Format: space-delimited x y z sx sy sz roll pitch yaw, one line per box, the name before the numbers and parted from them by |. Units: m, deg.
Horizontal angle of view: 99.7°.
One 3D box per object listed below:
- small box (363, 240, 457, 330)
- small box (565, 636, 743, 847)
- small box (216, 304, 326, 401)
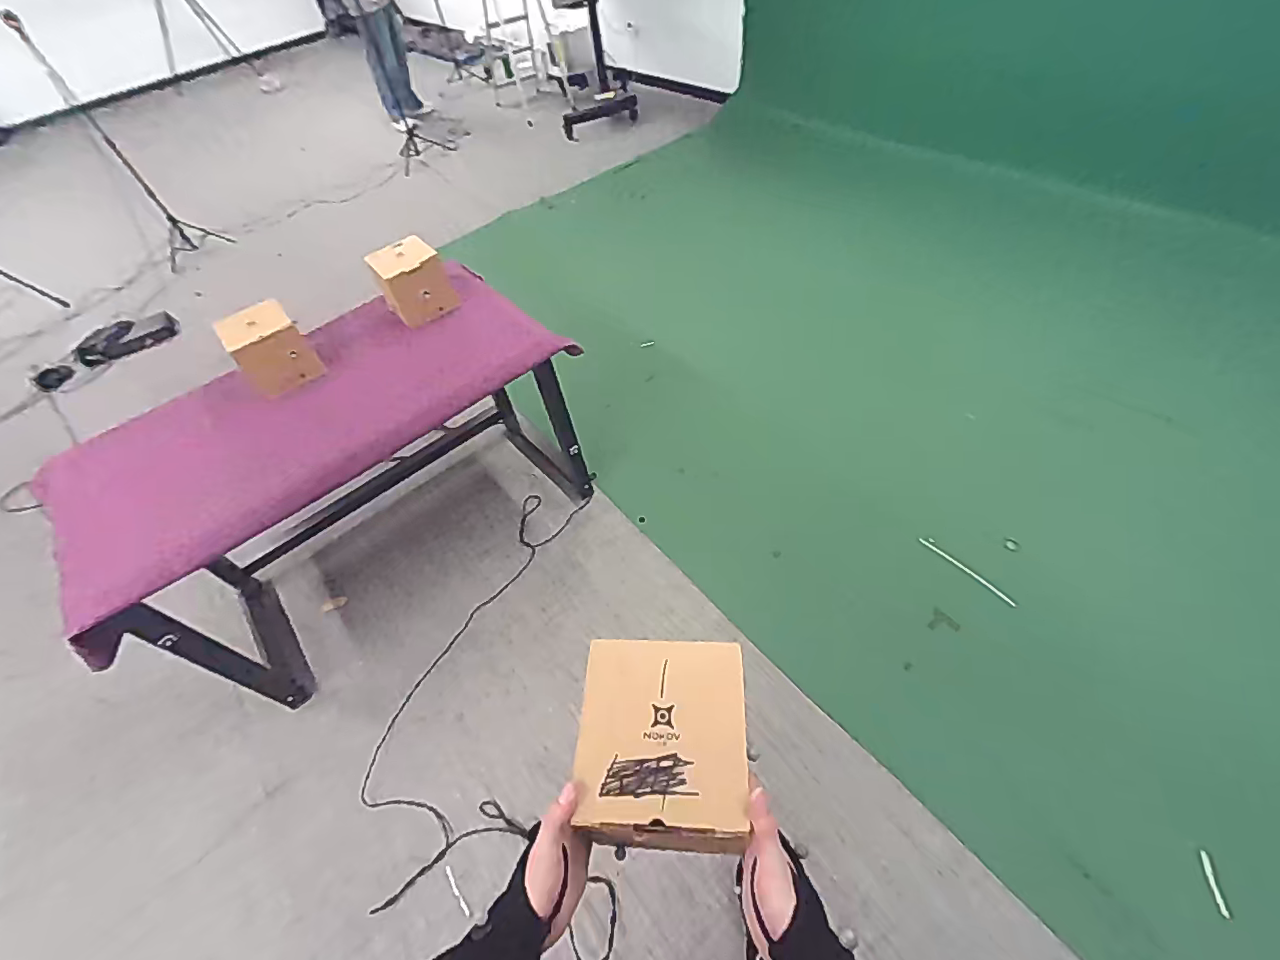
small box | -0.670 -0.568 1.592 0.168 0.176 0.179 -36 56 -18
small box | 0.027 0.288 0.593 0.168 0.176 0.179 -2 50 7
small box | -0.994 -0.339 1.467 0.168 0.176 0.179 -37 55 -19
